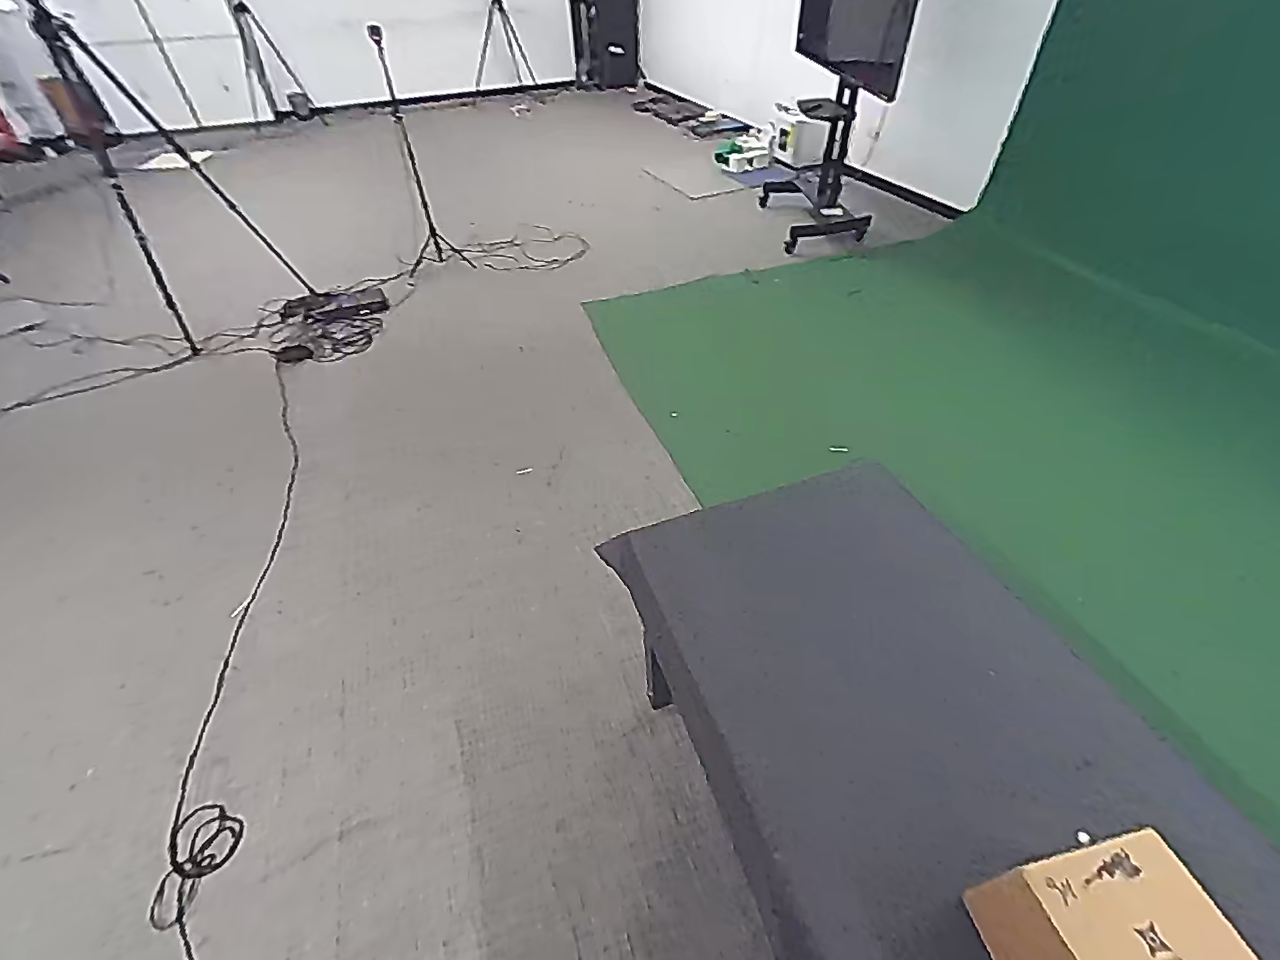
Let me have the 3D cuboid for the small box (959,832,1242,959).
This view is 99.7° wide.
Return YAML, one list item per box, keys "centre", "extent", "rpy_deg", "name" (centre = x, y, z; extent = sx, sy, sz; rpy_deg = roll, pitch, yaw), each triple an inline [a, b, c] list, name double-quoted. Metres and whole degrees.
- centre: [0.488, 0.509, 0.574]
  extent: [0.168, 0.176, 0.179]
  rpy_deg: [-10, 46, -7]
  name: "small box"
